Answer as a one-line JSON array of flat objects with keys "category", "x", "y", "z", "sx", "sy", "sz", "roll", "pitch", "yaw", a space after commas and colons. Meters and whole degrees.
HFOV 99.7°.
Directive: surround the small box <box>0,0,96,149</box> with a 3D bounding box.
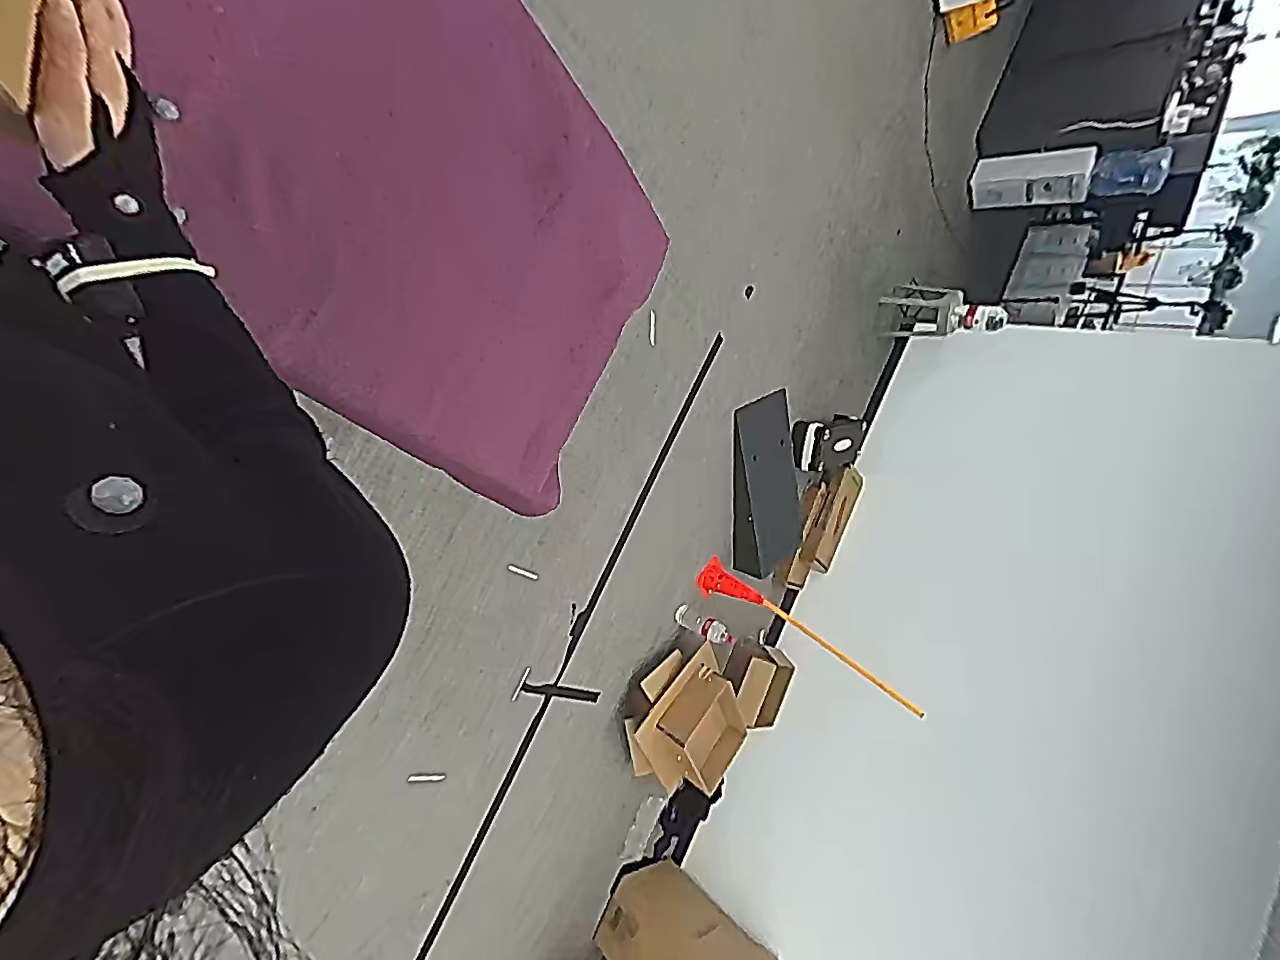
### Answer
[{"category": "small box", "x": -0.429, "y": -0.324, "z": 0.294, "sx": 0.168, "sy": 0.176, "sz": 0.179, "roll": 12, "pitch": 91, "yaw": -39}]
